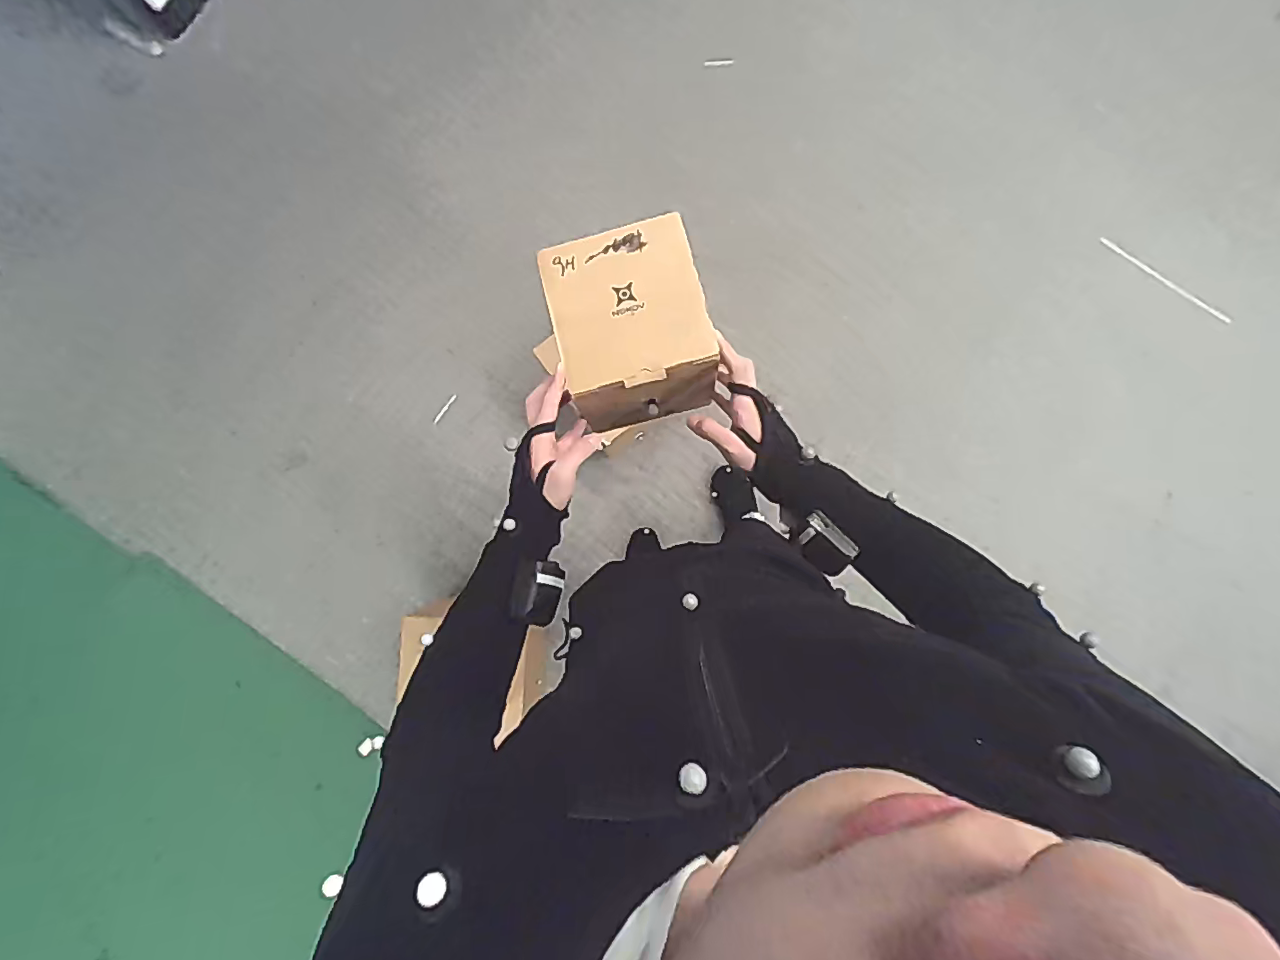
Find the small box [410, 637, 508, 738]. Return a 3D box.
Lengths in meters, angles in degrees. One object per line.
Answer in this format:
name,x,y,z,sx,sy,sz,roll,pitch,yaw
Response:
small box,-0.401,0.460,1.220,0.168,0.176,0.179,2,87,-1

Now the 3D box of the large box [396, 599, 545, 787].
large box,-0.436,0.546,1.463,0.320,0.320,0.408,2,87,1

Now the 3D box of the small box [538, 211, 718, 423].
small box,-0.007,-0.177,0.650,0.168,0.176,0.179,-14,81,3
